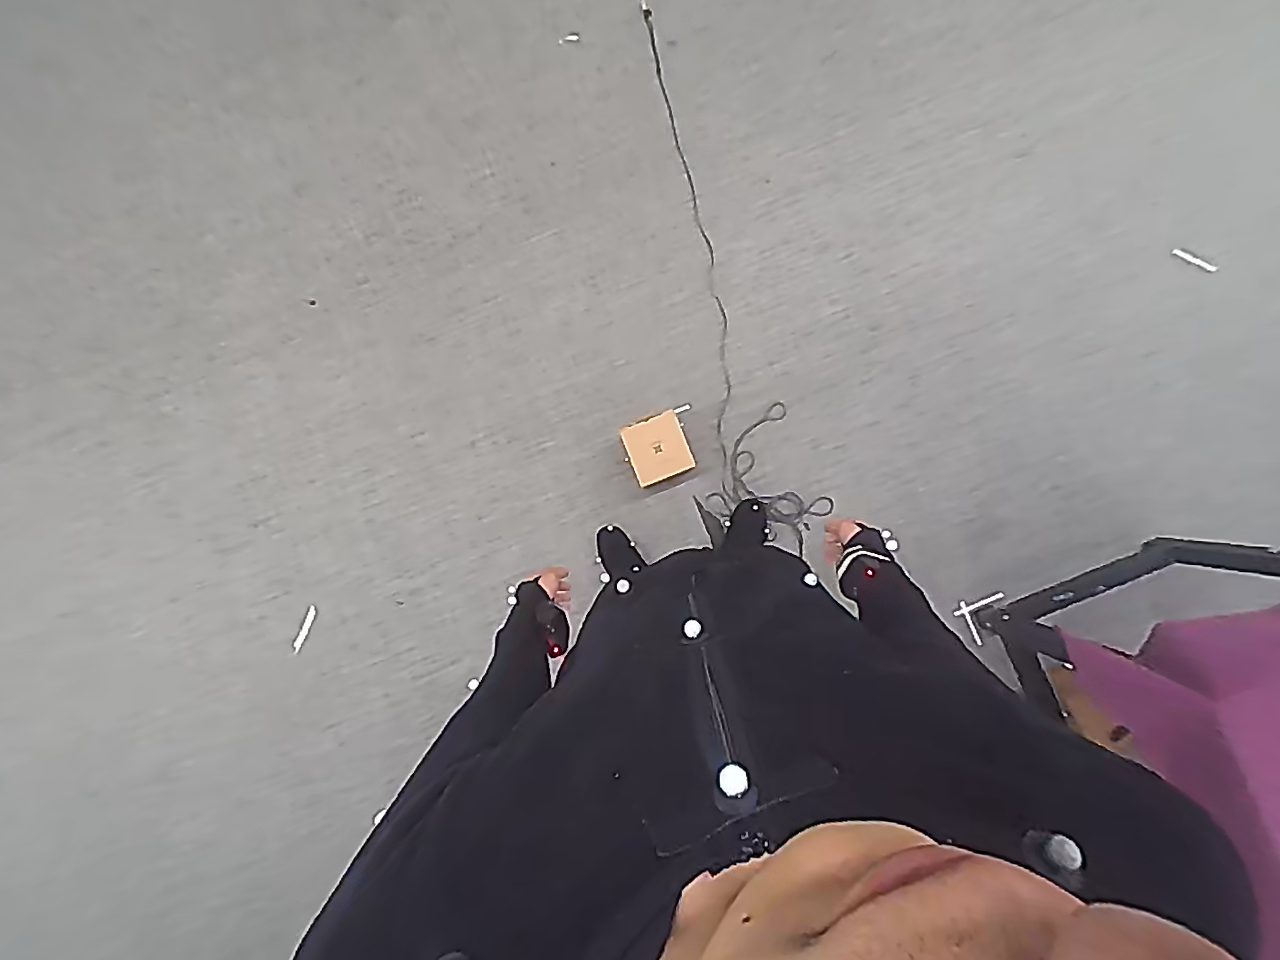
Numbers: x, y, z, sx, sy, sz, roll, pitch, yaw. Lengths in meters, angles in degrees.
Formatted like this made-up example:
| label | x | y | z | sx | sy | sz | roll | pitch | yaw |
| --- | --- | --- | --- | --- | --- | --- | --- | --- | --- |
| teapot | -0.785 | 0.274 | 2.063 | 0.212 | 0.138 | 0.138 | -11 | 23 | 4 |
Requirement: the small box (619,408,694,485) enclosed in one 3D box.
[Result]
| label | x | y | z | sx | sy | sz | roll | pitch | yaw |
| --- | --- | --- | --- | --- | --- | --- | --- | --- | --- |
| small box | 0.049 | -0.091 | 1.576 | 0.168 | 0.176 | 0.179 | -21 | 88 | 3 |
